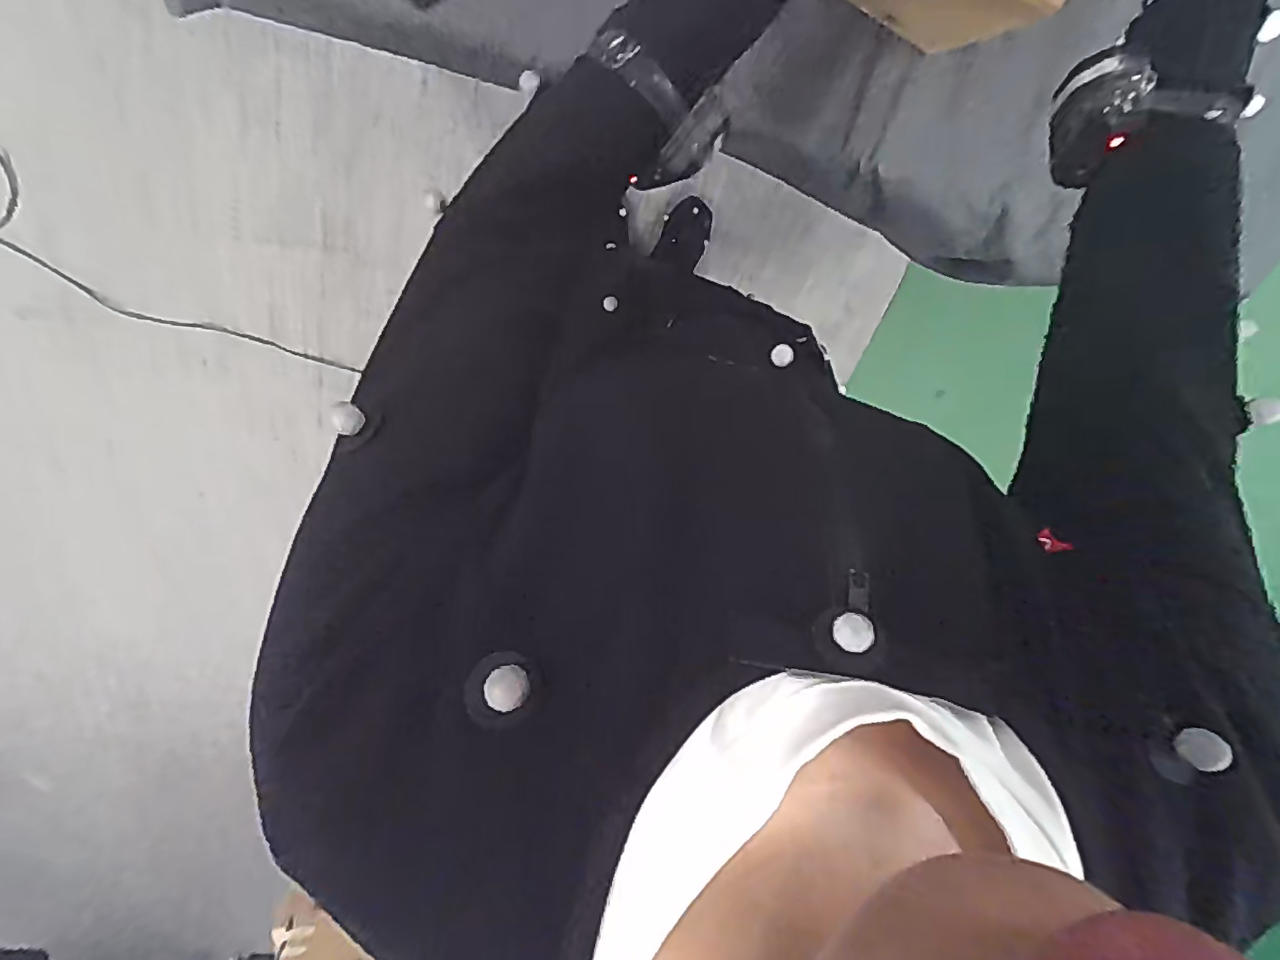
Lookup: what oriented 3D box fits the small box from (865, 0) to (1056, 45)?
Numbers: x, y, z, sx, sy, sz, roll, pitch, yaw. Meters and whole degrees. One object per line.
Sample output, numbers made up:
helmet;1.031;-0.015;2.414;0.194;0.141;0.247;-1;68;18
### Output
small box;0.246;-0.467;0.397;0.168;0.176;0.179;18;117;-16
